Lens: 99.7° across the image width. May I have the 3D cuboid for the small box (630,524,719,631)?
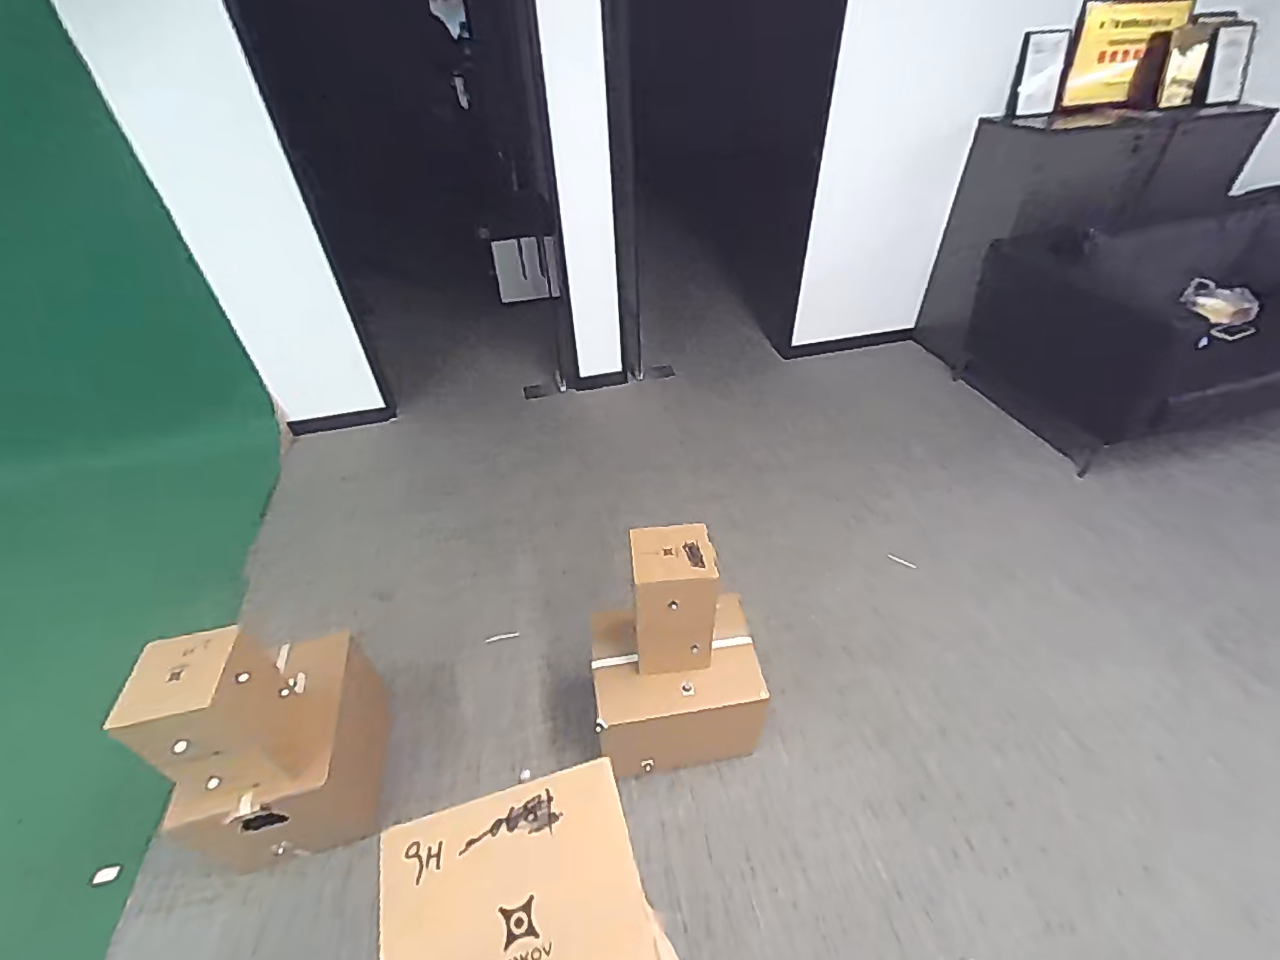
[{"bbox_3d":[0.071,0.219,1.207,0.179,0.176,0.168,-5,38,-2],"label":"small box"}]

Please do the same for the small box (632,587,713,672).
[{"bbox_3d":[0.073,0.344,1.313,0.179,0.176,0.168,-5,38,-3],"label":"small box"}]

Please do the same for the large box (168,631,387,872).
[{"bbox_3d":[-0.855,0.666,1.354,0.320,0.320,0.408,-11,41,-10],"label":"large box"}]

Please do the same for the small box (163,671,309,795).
[{"bbox_3d":[-0.829,0.533,1.133,0.168,0.176,0.179,-10,40,-9],"label":"small box"}]

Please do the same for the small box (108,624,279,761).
[{"bbox_3d":[-0.825,0.407,1.026,0.168,0.176,0.179,-10,40,-9],"label":"small box"}]

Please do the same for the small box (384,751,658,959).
[{"bbox_3d":[-0.080,0.336,0.408,0.168,0.176,0.179,-12,53,-13],"label":"small box"}]
